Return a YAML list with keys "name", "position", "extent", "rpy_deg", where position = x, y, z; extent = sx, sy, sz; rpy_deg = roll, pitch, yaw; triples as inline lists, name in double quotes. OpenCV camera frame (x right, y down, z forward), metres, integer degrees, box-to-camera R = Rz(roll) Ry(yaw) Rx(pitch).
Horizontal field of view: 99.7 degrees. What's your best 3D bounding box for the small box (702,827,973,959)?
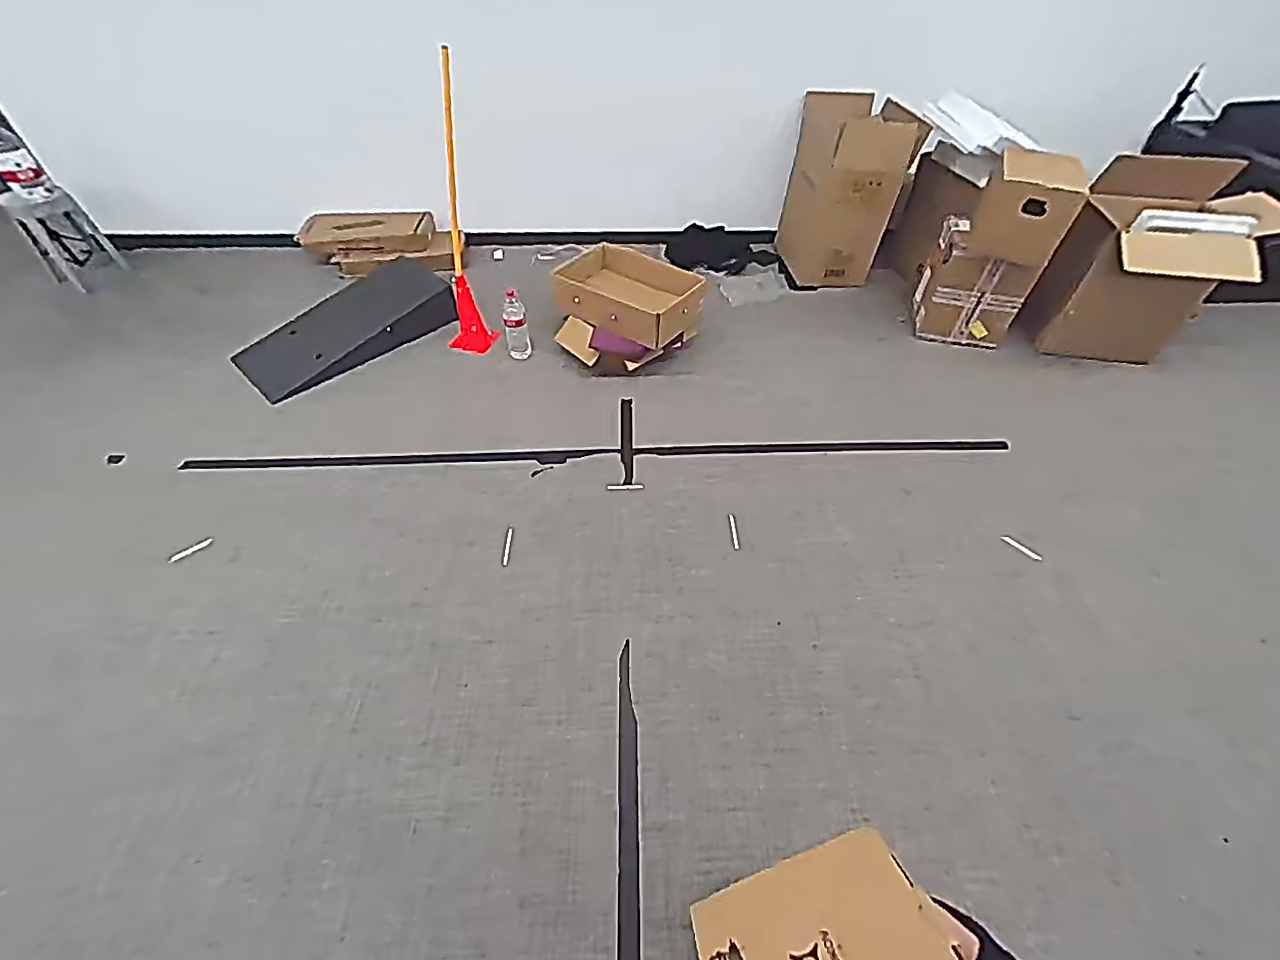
- name: "small box"
  position: [0.168, 0.422, 0.408]
  extent: [0.179, 0.176, 0.168]
  rpy_deg: [-22, 9, -1]
